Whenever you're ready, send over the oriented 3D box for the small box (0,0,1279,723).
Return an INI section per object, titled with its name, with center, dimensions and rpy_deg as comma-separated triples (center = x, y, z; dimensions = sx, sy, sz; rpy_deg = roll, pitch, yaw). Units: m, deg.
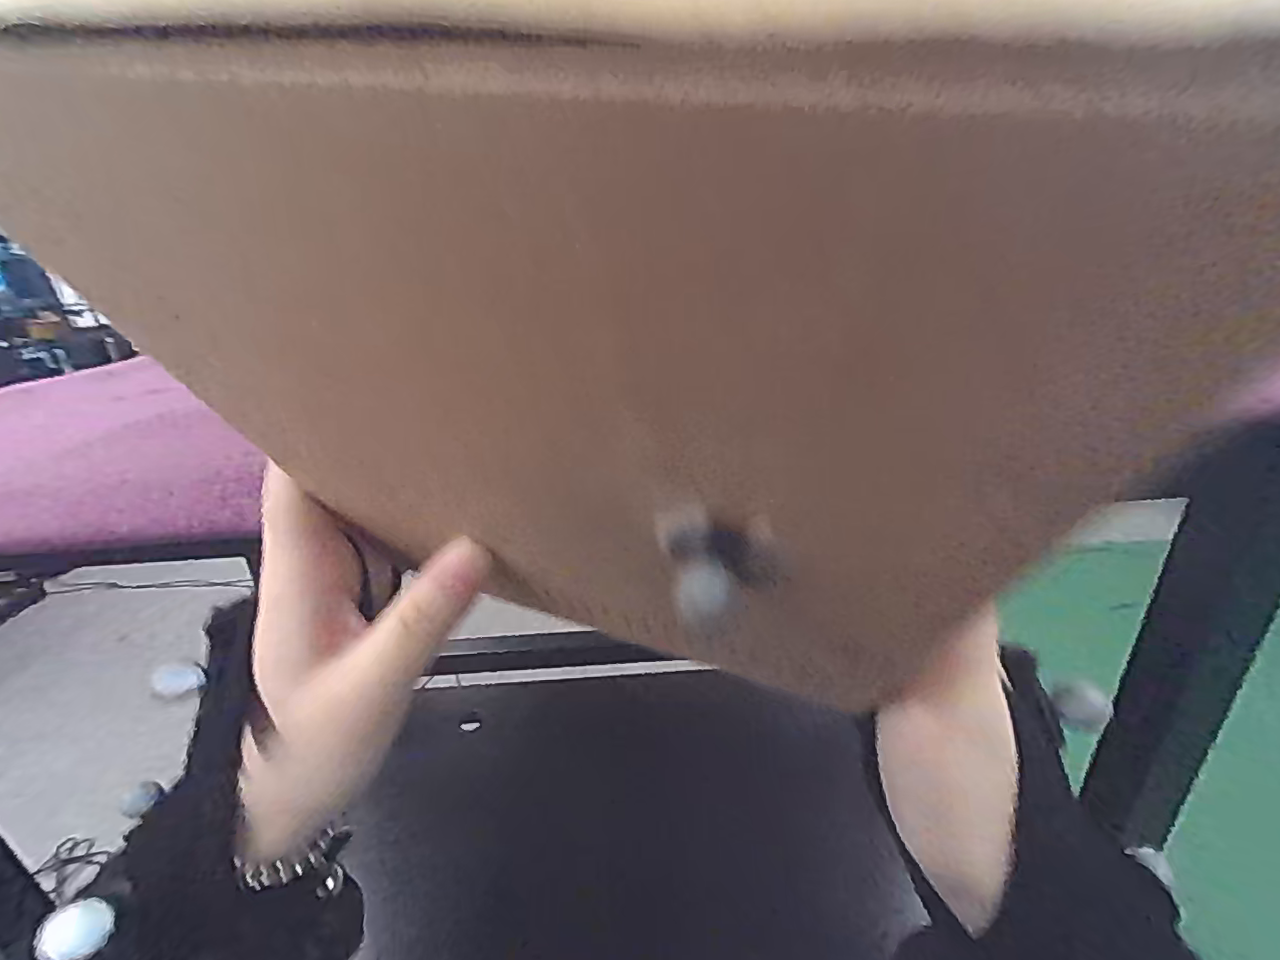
[small box]
center = 0.010, -0.045, 0.160
dimensions = 0.179, 0.176, 0.168
rpy_deg = 13, 59, 17
